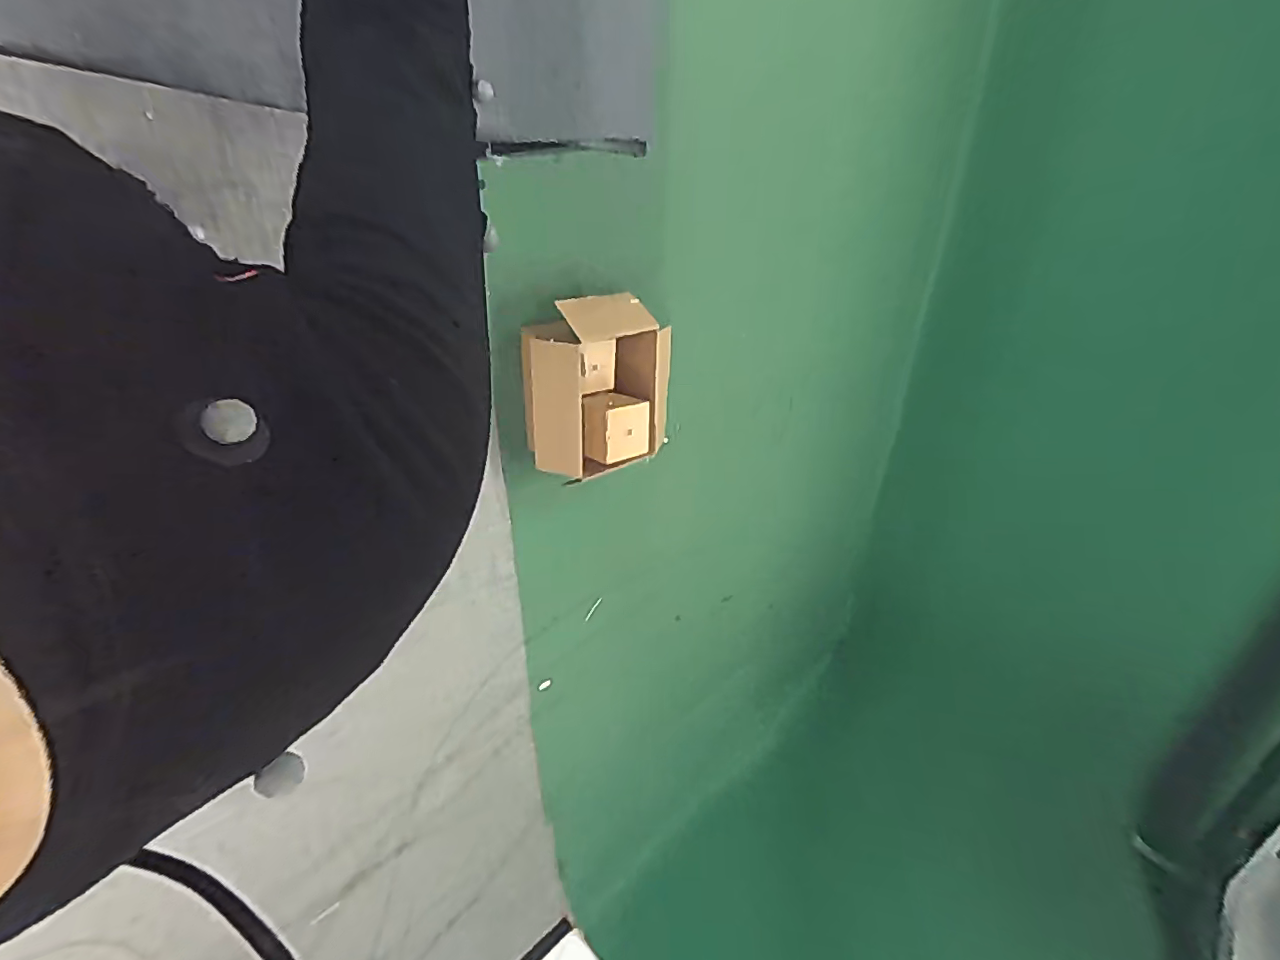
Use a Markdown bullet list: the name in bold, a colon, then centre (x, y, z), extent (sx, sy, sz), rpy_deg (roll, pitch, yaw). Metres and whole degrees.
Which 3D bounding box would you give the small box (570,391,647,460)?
- **small box**: centre (-0.098, -0.176, 1.677), extent (0.179, 0.176, 0.168), rpy_deg (-19, 119, -41)
